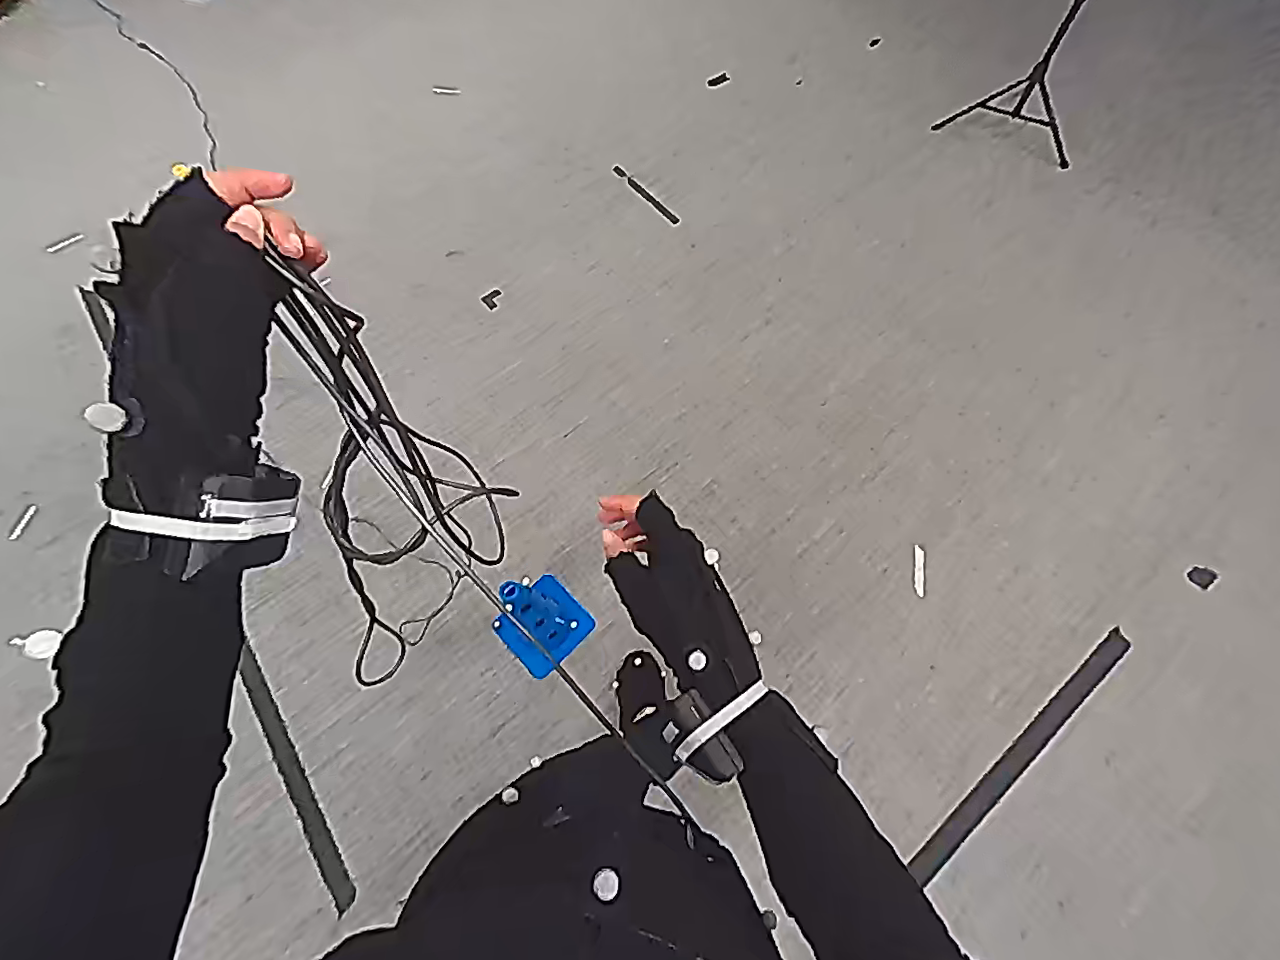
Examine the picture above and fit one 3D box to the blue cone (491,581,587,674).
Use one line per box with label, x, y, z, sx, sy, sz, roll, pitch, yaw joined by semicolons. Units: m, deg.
blue cone;-0.258;0.301;1.223;0.192;0.380;0.193;-41;70;-15
